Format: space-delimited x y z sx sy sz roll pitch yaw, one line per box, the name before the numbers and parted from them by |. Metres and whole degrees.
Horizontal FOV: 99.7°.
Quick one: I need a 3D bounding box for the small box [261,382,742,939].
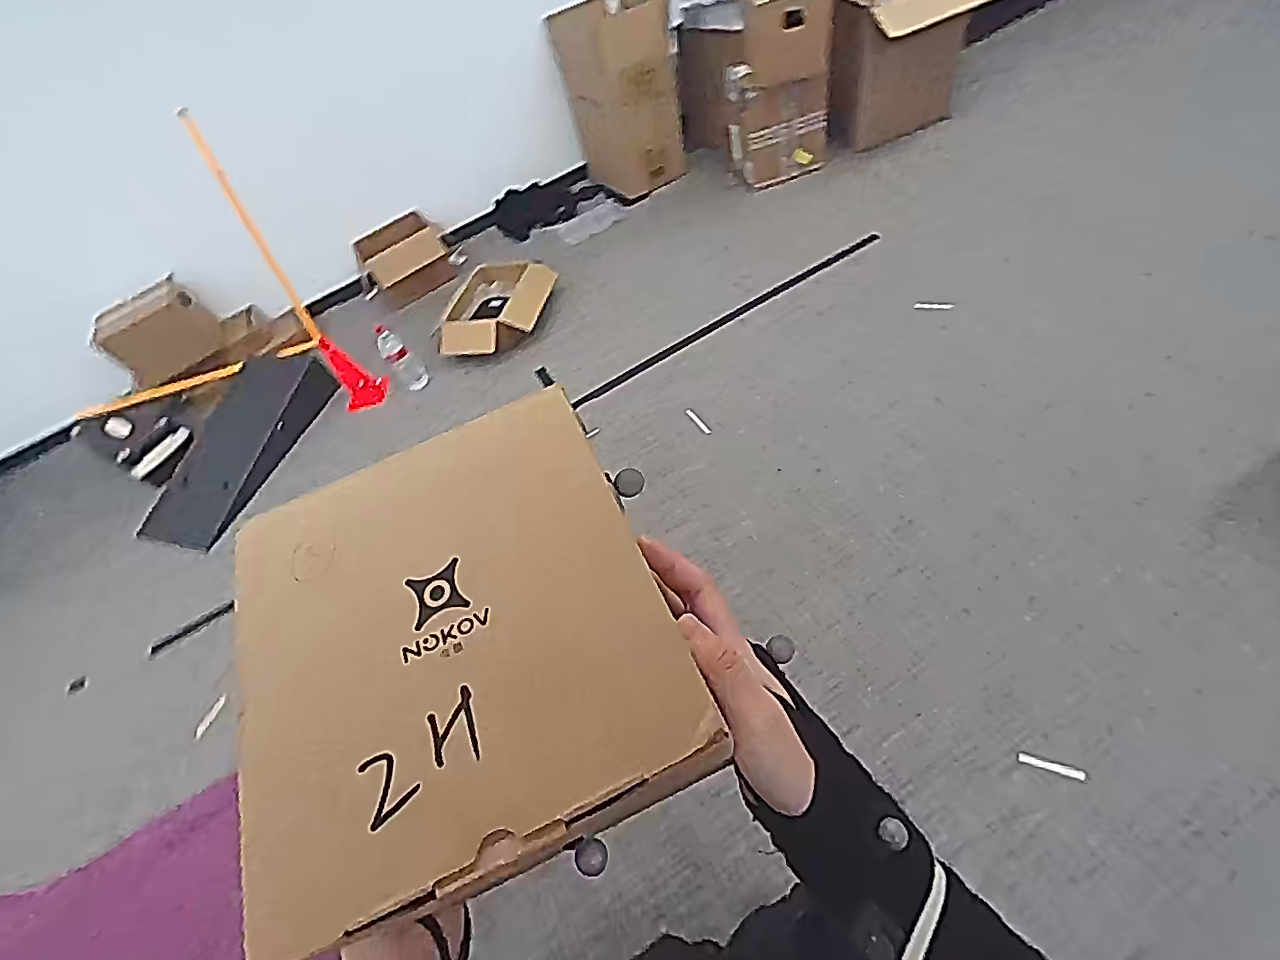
small box | -0.060 0.088 0.287 0.168 0.176 0.179 -24 59 -4
